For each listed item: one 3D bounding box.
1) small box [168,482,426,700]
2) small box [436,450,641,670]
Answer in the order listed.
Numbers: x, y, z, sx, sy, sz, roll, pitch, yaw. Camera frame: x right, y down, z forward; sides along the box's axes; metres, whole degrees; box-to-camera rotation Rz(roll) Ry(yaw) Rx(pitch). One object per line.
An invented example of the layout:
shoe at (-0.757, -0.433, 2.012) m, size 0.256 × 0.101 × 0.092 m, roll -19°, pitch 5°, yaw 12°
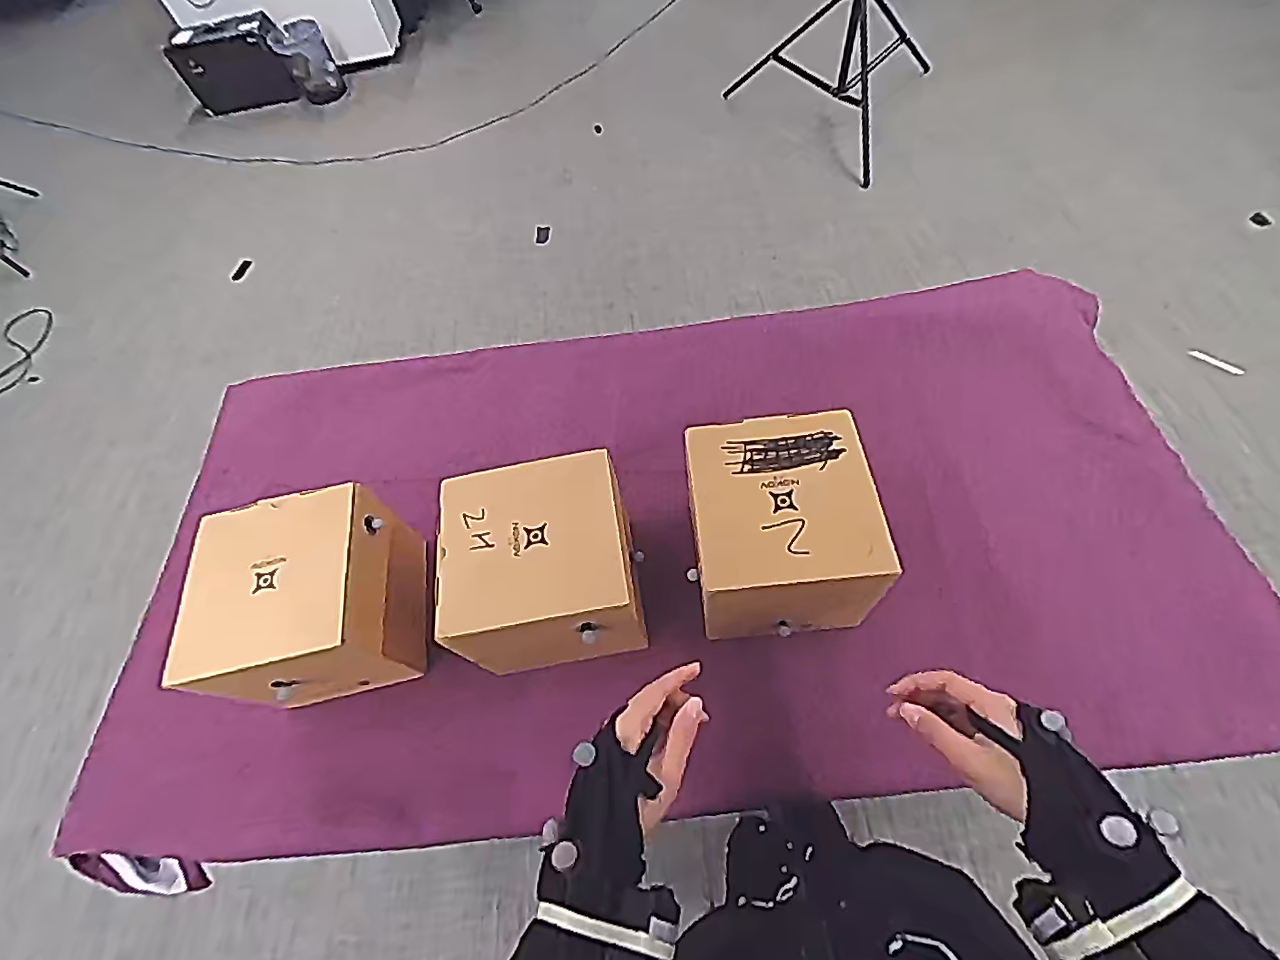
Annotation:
small box at (-0.350, 0.132, 0.593) m, size 0.168 × 0.176 × 0.179 m, roll -14°, pitch 59°, yaw 0°
small box at (-0.097, 0.093, 0.578) m, size 0.179 × 0.176 × 0.168 m, roll -11°, pitch 59°, yaw 1°
